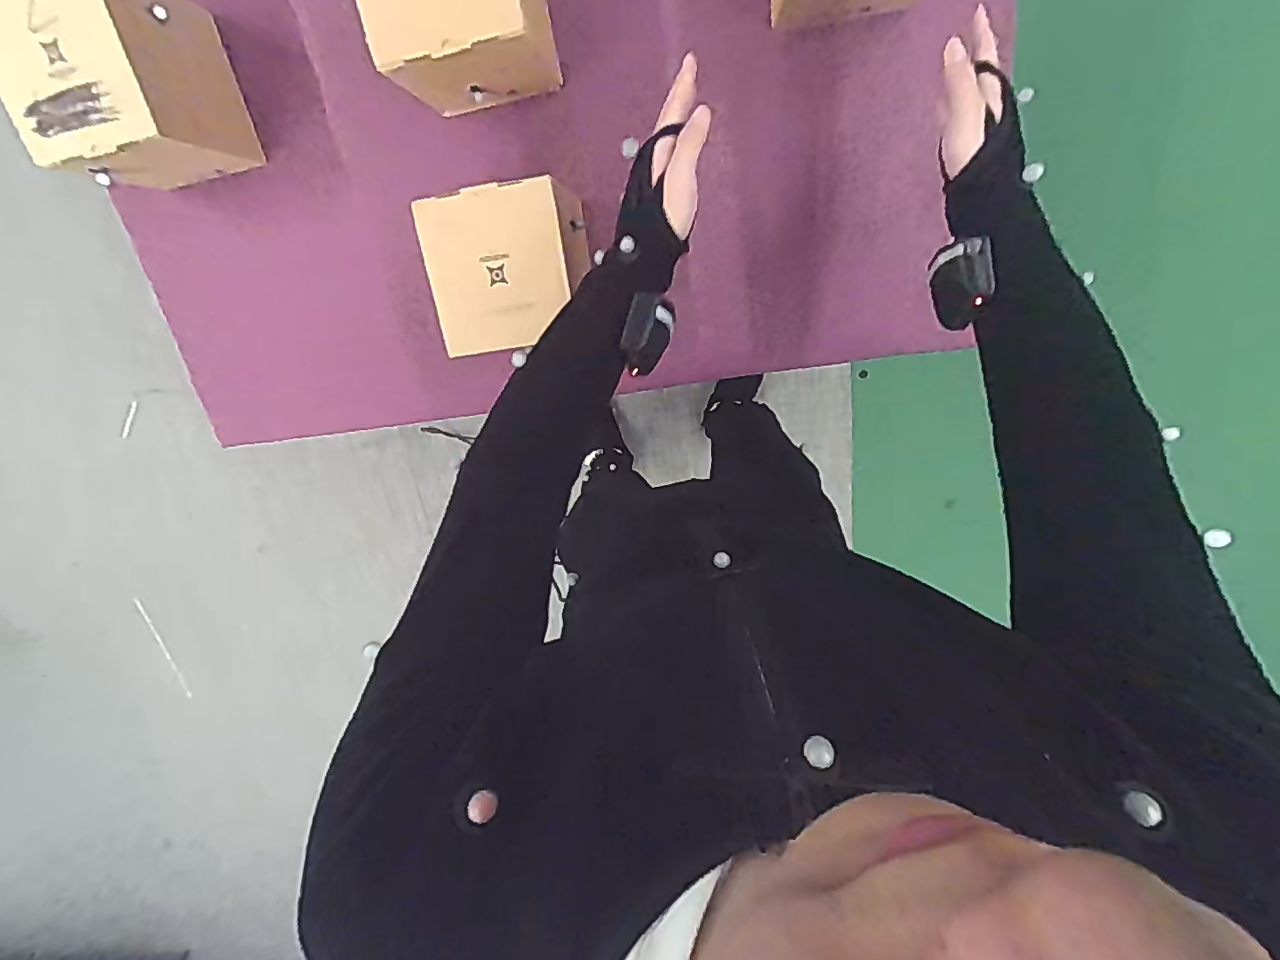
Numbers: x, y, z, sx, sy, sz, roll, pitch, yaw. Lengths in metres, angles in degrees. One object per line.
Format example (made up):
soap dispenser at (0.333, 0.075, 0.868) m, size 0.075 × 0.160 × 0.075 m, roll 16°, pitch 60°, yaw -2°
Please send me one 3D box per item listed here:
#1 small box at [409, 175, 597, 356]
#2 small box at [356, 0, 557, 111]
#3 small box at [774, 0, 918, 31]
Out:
small box at (-0.157, -0.261, 0.683) m, size 0.168 × 0.176 × 0.179 m, roll -5°, pitch 109°, yaw 7°
small box at (-0.199, -0.539, 0.587) m, size 0.168 × 0.176 × 0.179 m, roll -8°, pitch 110°, yaw 7°
small box at (0.224, -0.591, 0.530) m, size 0.168 × 0.176 × 0.179 m, roll -4°, pitch 110°, yaw 7°
